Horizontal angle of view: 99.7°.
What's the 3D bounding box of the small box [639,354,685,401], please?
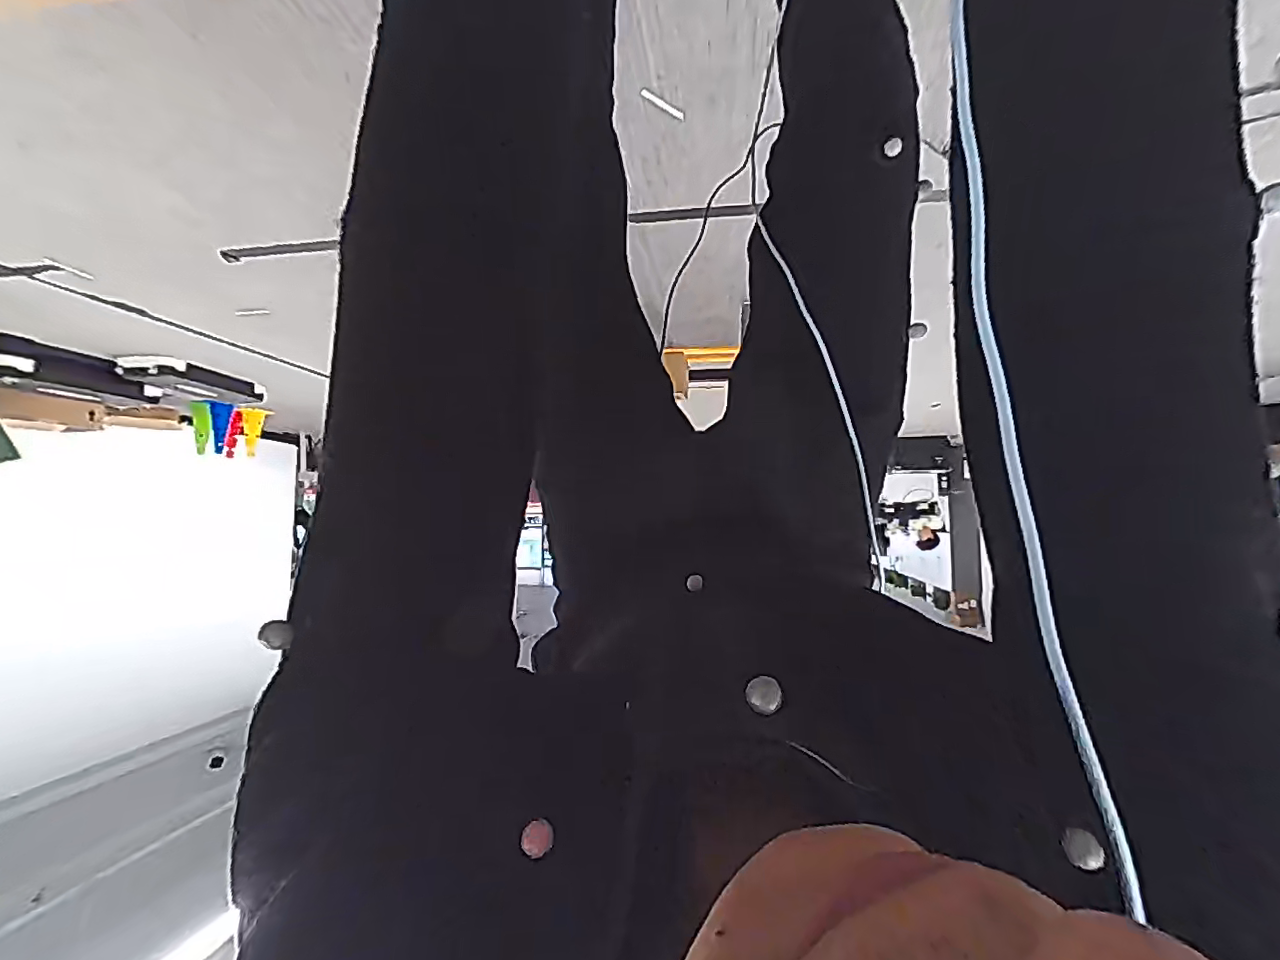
[{"bbox_3d":[0.095,-0.433,2.289,0.179,0.176,0.168,2,177,12],"label":"small box"}]
